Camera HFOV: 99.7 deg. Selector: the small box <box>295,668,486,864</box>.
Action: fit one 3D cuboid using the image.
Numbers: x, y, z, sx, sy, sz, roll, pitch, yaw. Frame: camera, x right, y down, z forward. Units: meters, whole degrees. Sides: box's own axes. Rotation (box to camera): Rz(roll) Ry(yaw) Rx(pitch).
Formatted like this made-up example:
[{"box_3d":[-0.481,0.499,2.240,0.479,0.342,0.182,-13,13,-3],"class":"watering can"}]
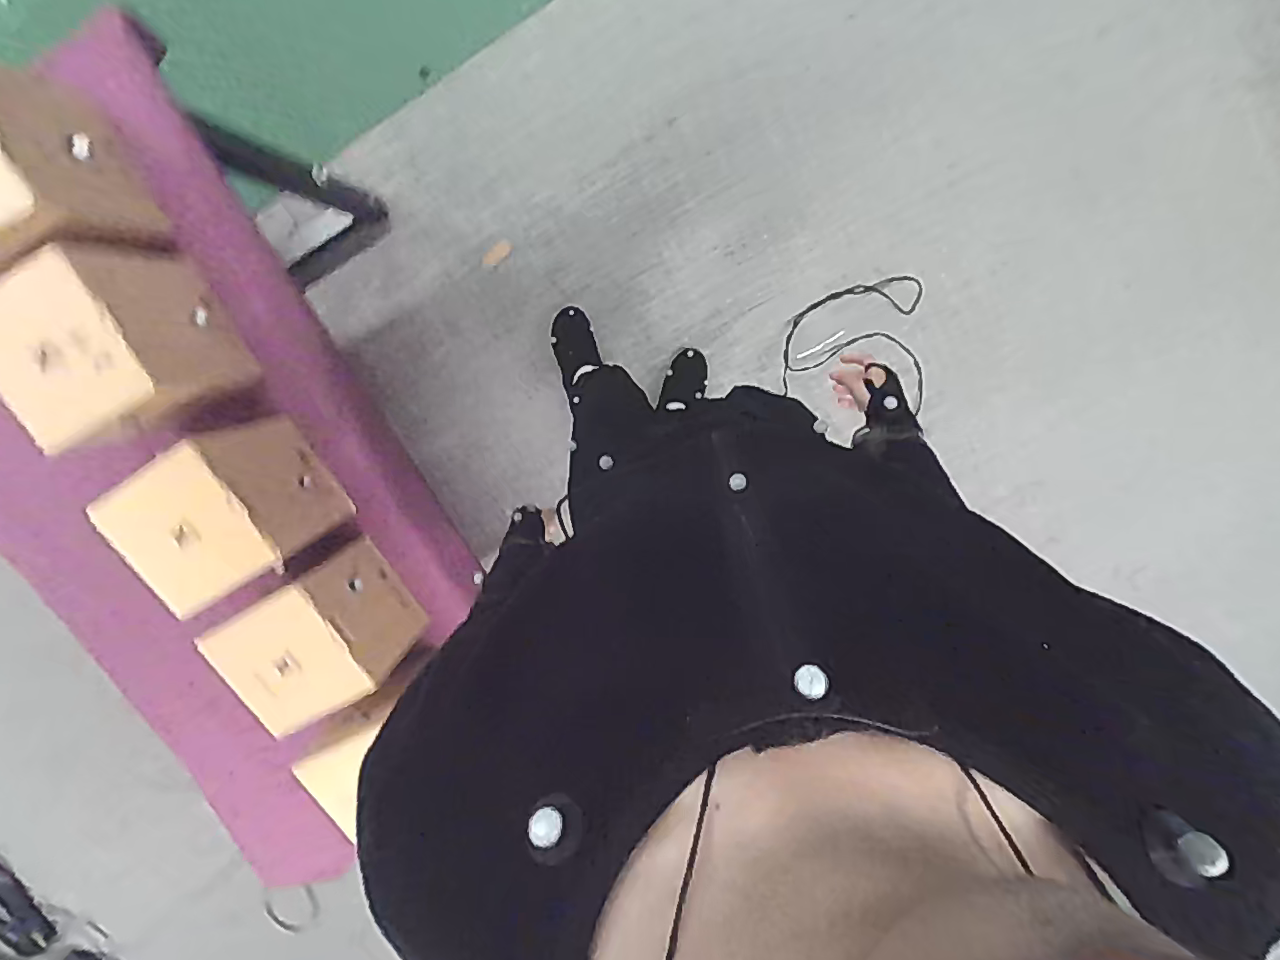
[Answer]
[{"box_3d":[-0.354,0.418,0.815,0.179,0.176,0.168,-28,101,10],"class":"small box"}]
